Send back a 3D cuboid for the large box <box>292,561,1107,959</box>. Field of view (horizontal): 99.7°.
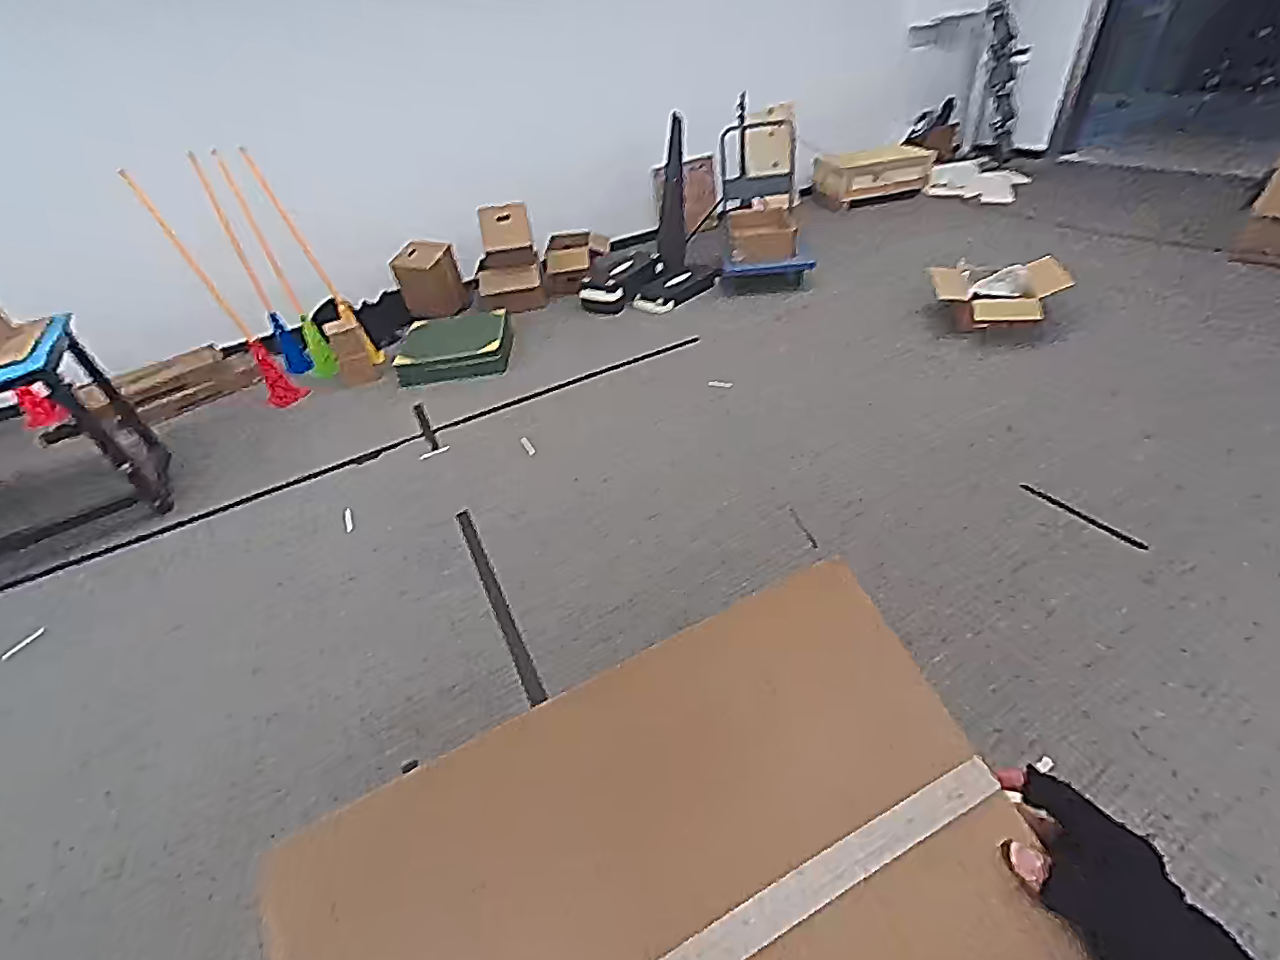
[{"bbox_3d":[0.033,0.328,0.437,0.408,0.320,0.320,-24,68,-11],"label":"large box"}]
